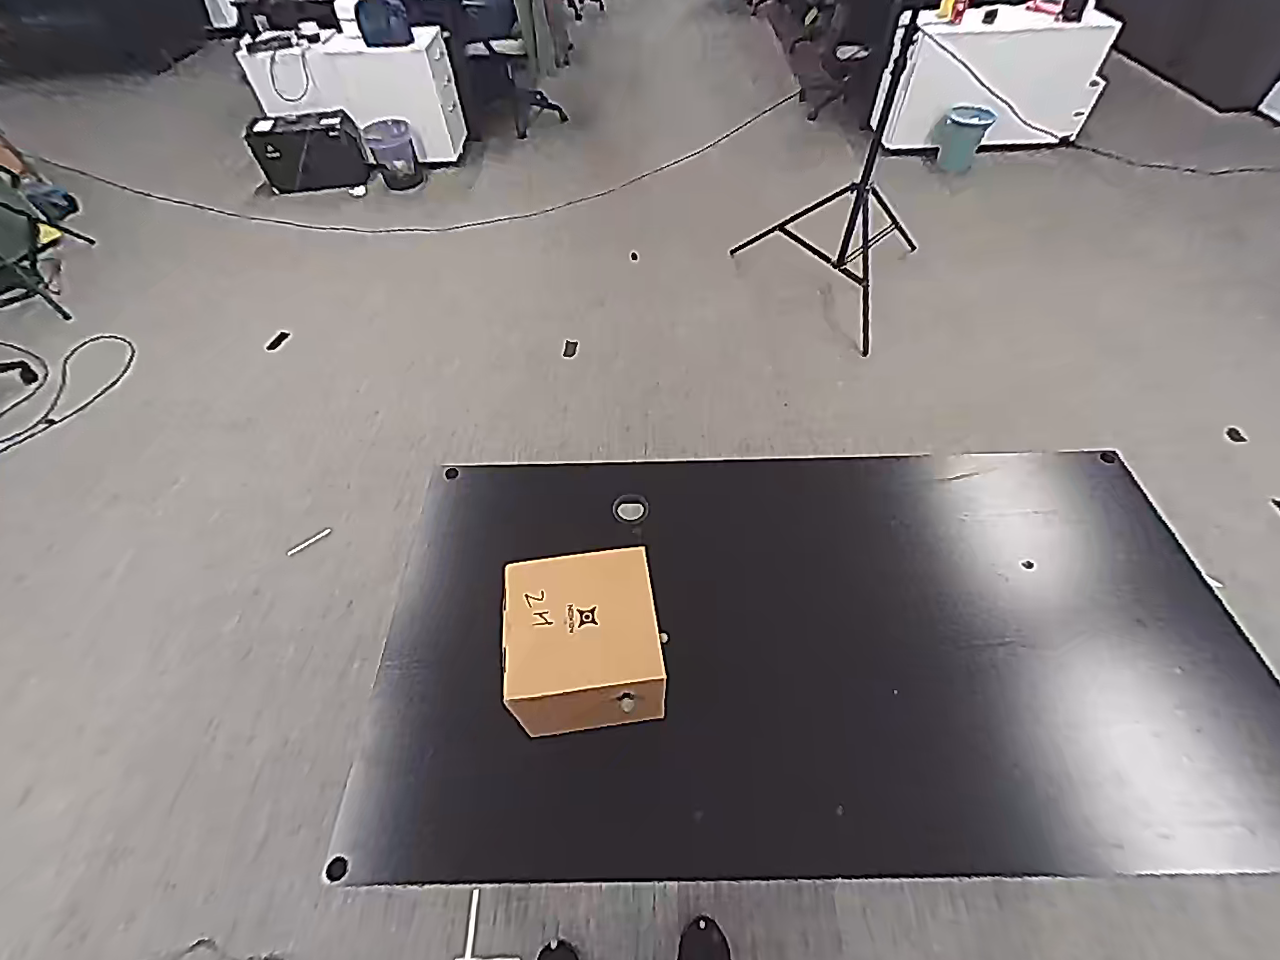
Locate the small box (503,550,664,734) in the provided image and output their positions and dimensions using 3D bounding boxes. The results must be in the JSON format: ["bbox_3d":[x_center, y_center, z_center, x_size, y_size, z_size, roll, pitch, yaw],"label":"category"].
[{"bbox_3d":[-0.069,0.210,0.689,0.179,0.176,0.168,-7,53,-3],"label":"small box"}]
